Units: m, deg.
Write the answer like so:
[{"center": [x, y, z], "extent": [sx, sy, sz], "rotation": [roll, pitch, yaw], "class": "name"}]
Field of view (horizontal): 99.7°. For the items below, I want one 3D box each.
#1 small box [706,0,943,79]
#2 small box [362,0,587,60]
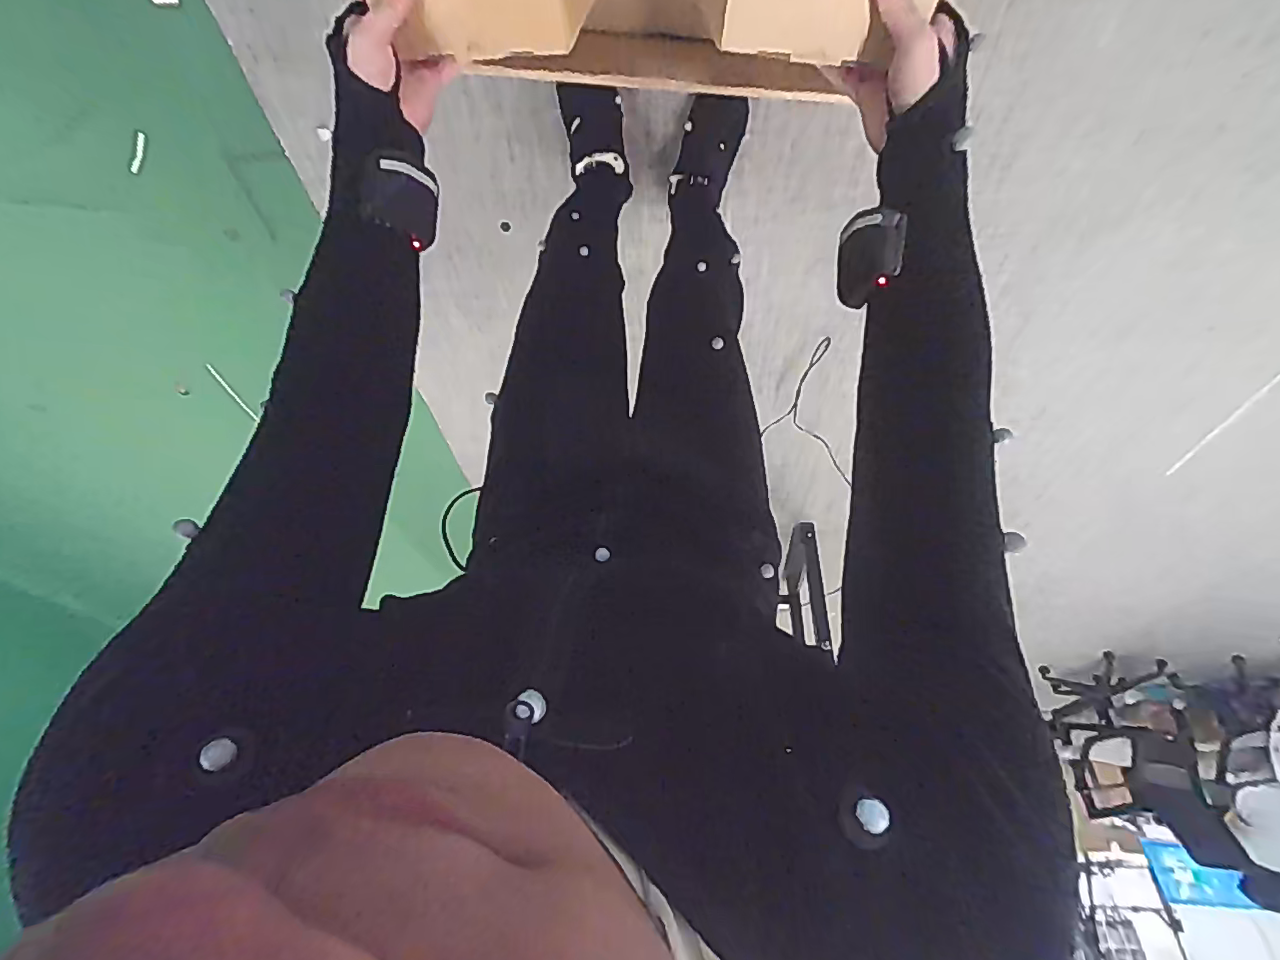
[{"center": [0.150, -0.451, 0.420], "extent": [0.168, 0.176, 0.179], "rotation": [2, 141, -6], "class": "small box"}, {"center": [-0.138, -0.475, 0.433], "extent": [0.168, 0.176, 0.179], "rotation": [3, 147, 6], "class": "small box"}]
